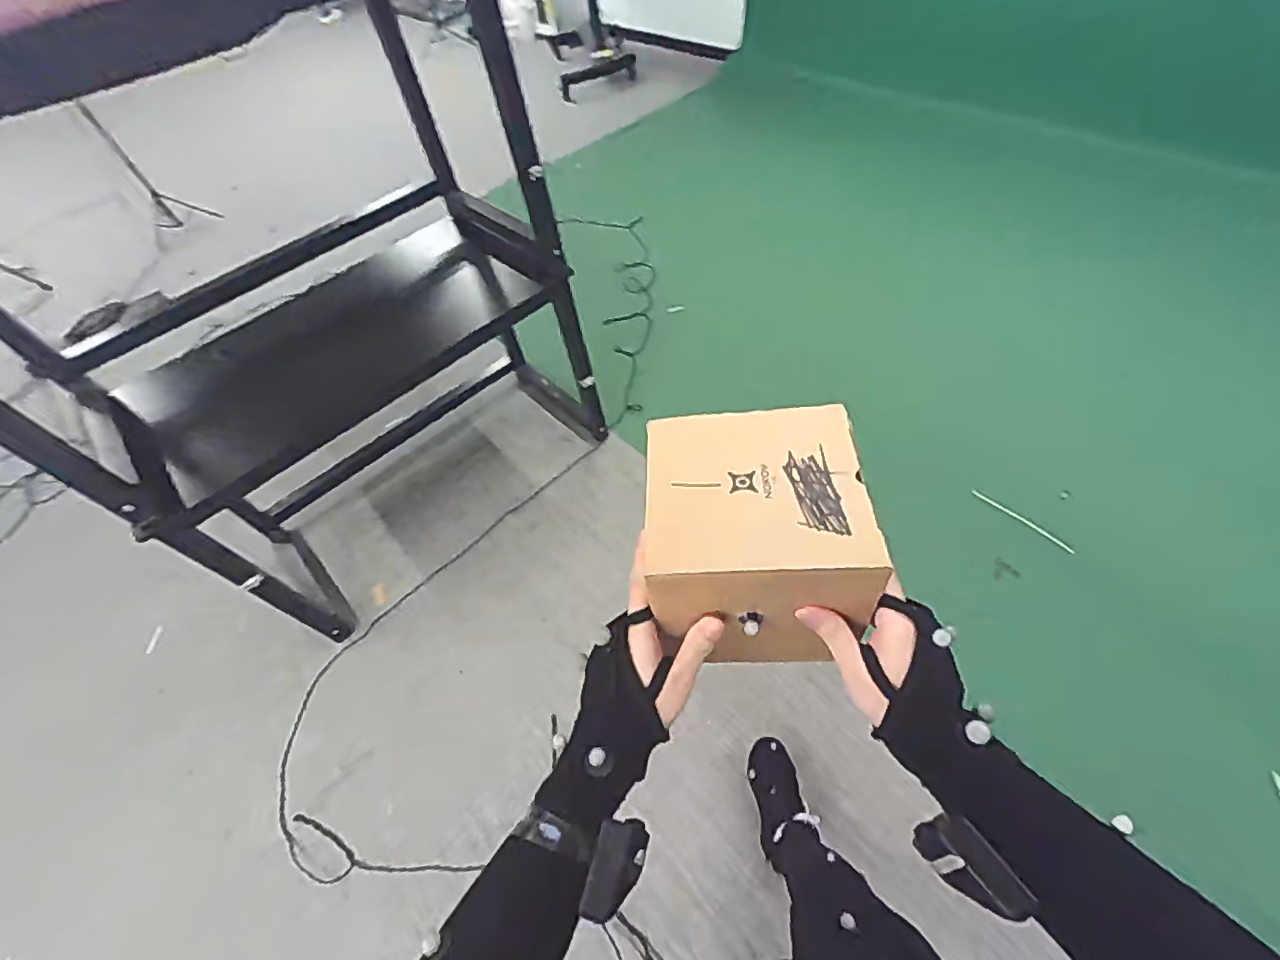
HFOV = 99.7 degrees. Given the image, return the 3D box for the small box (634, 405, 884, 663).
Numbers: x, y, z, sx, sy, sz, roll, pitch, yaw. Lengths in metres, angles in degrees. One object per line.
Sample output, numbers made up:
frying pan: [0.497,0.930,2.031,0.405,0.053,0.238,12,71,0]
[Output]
small box: [0.096,0.055,0.489,0.179,0.176,0.168,-4,49,8]
